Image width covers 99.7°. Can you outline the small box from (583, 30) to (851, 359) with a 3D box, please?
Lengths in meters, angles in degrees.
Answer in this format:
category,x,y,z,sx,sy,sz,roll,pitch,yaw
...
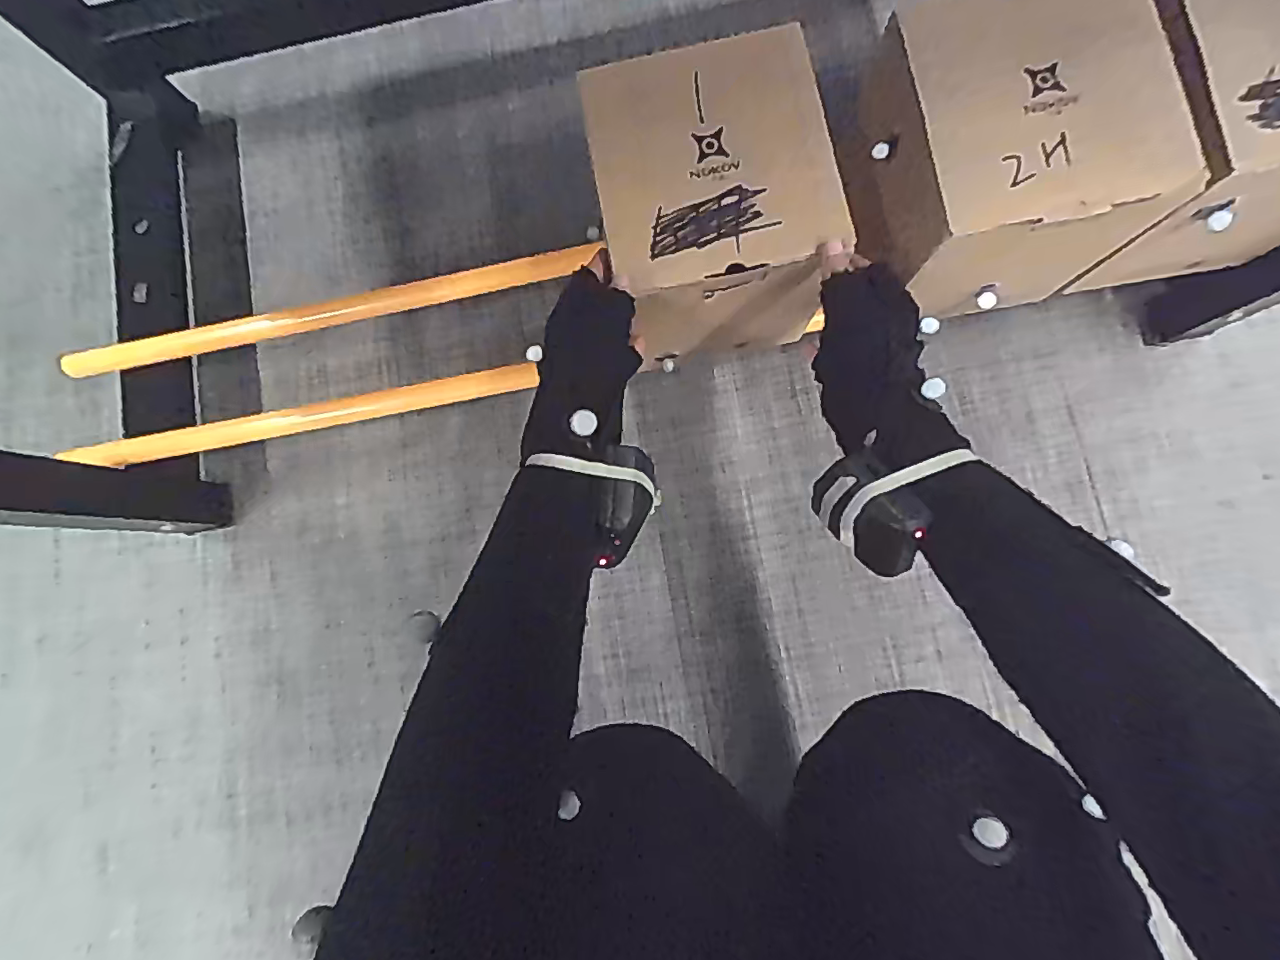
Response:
category,x,y,z,sx,sy,sz,roll,pitch,yaw
small box,0.057,-0.216,0.461,0.168,0.176,0.179,-11,81,2
